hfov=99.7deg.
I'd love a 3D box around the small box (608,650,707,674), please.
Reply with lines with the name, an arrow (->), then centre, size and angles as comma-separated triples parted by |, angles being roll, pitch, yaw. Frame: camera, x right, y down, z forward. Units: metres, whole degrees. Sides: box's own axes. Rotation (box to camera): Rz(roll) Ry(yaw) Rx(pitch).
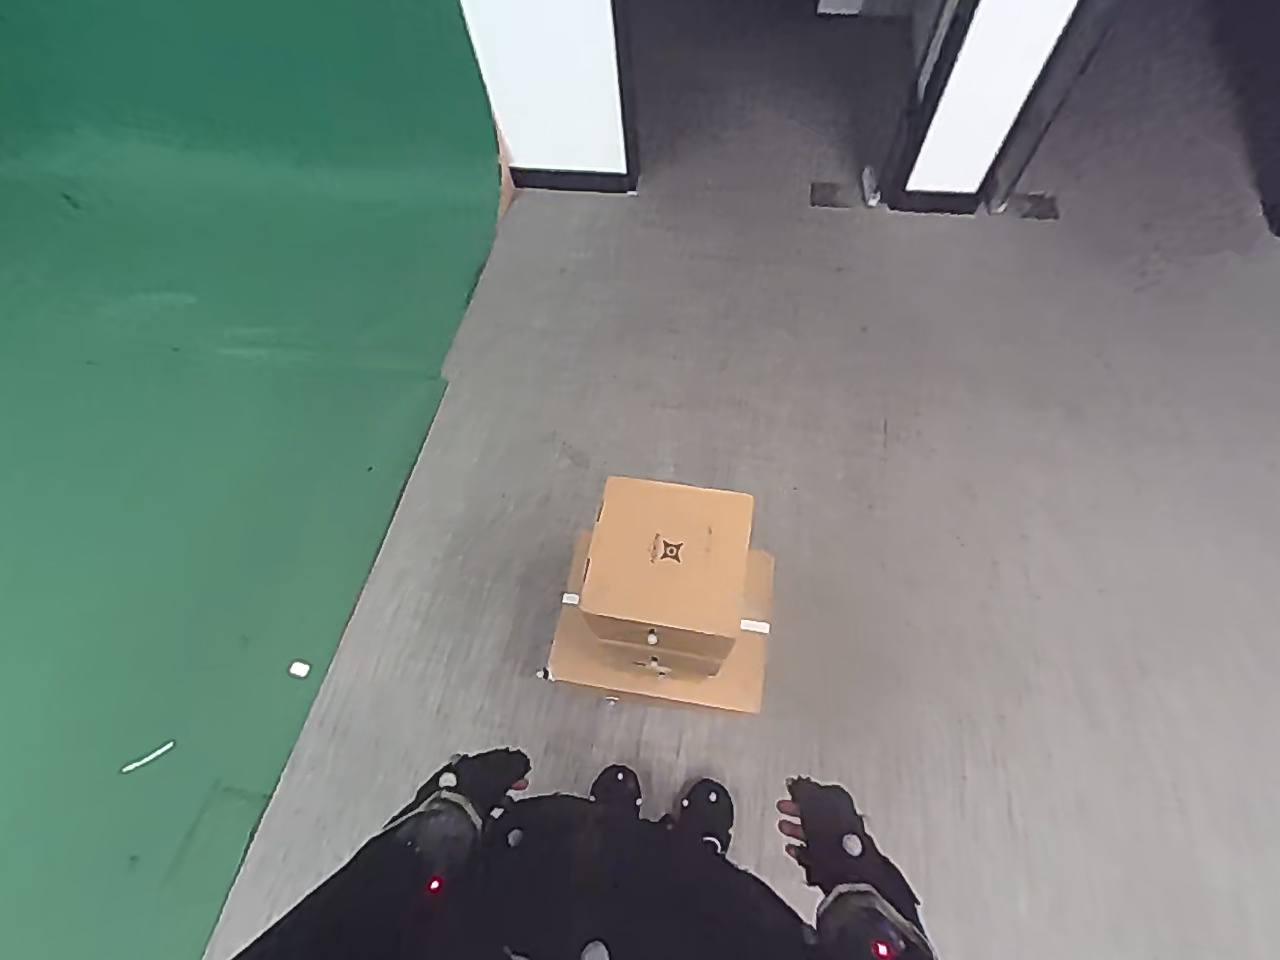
small box -> 0.047, 0.245, 0.971 | 0.168, 0.176, 0.179 | 6, 66, 7

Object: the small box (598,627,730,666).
small box -> 0.043, 0.182, 0.819 | 0.179, 0.176, 0.168 | 5, 66, 6

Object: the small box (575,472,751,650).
small box -> 0.034, 0.108, 0.675 | 0.179, 0.176, 0.168 | 8, 67, 7
